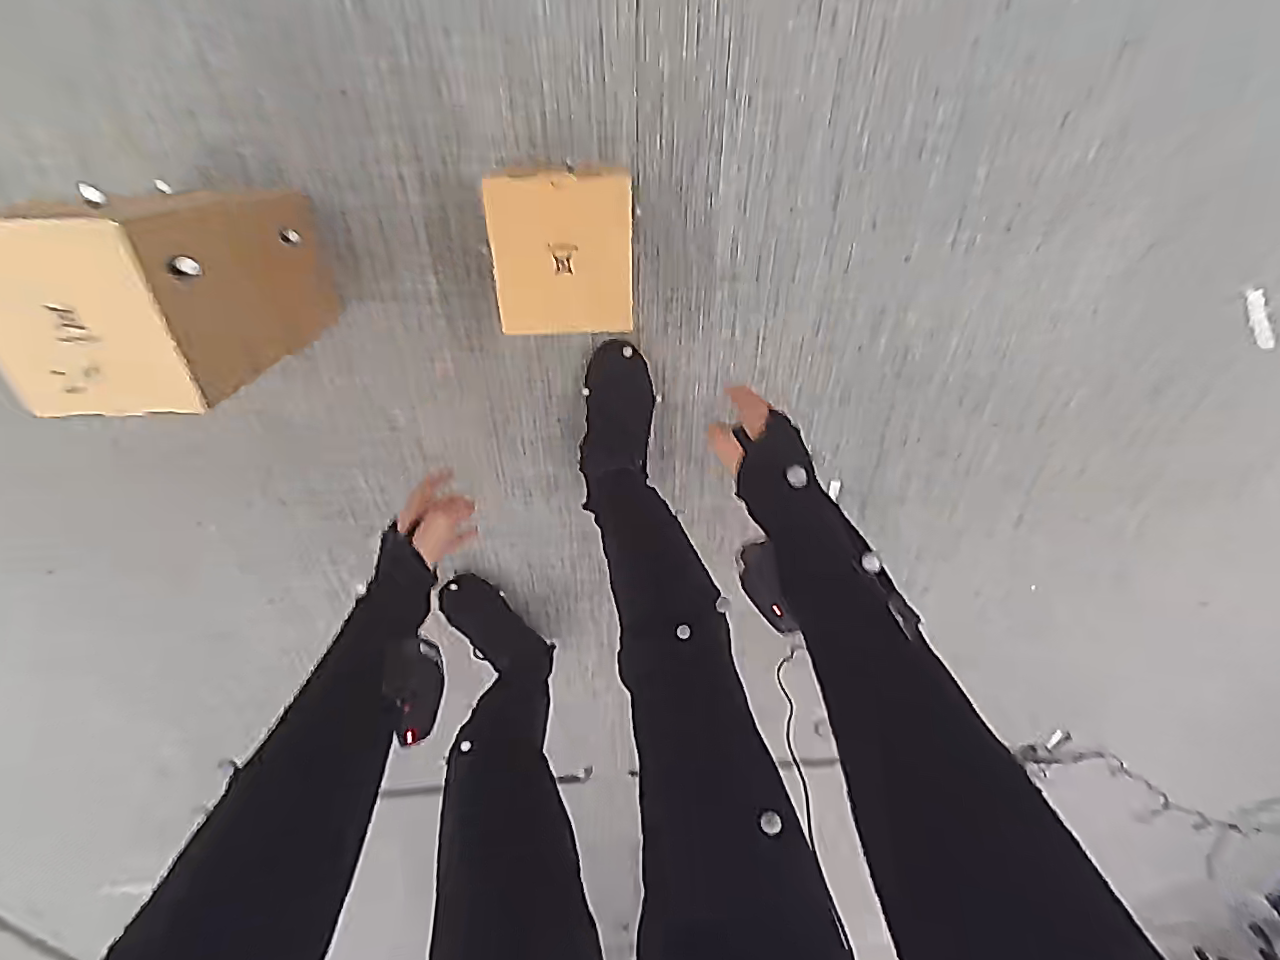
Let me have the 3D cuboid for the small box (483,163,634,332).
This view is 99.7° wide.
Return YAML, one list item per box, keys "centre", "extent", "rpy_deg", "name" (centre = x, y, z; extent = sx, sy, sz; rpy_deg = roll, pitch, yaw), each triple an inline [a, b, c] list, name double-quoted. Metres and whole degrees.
- centre: [-0.093, -0.302, 0.695]
  extent: [0.168, 0.176, 0.179]
  rpy_deg: [-3, 122, -4]
  name: "small box"

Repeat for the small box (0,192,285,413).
- centre: [-0.498, -0.182, 0.536]
  extent: [0.168, 0.176, 0.179]
  rpy_deg: [-2, 124, -3]
  name: "small box"

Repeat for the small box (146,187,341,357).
- centre: [-0.510, -0.264, 0.677]
  extent: [0.168, 0.176, 0.179]
  rpy_deg: [-2, 123, -3]
  name: "small box"
